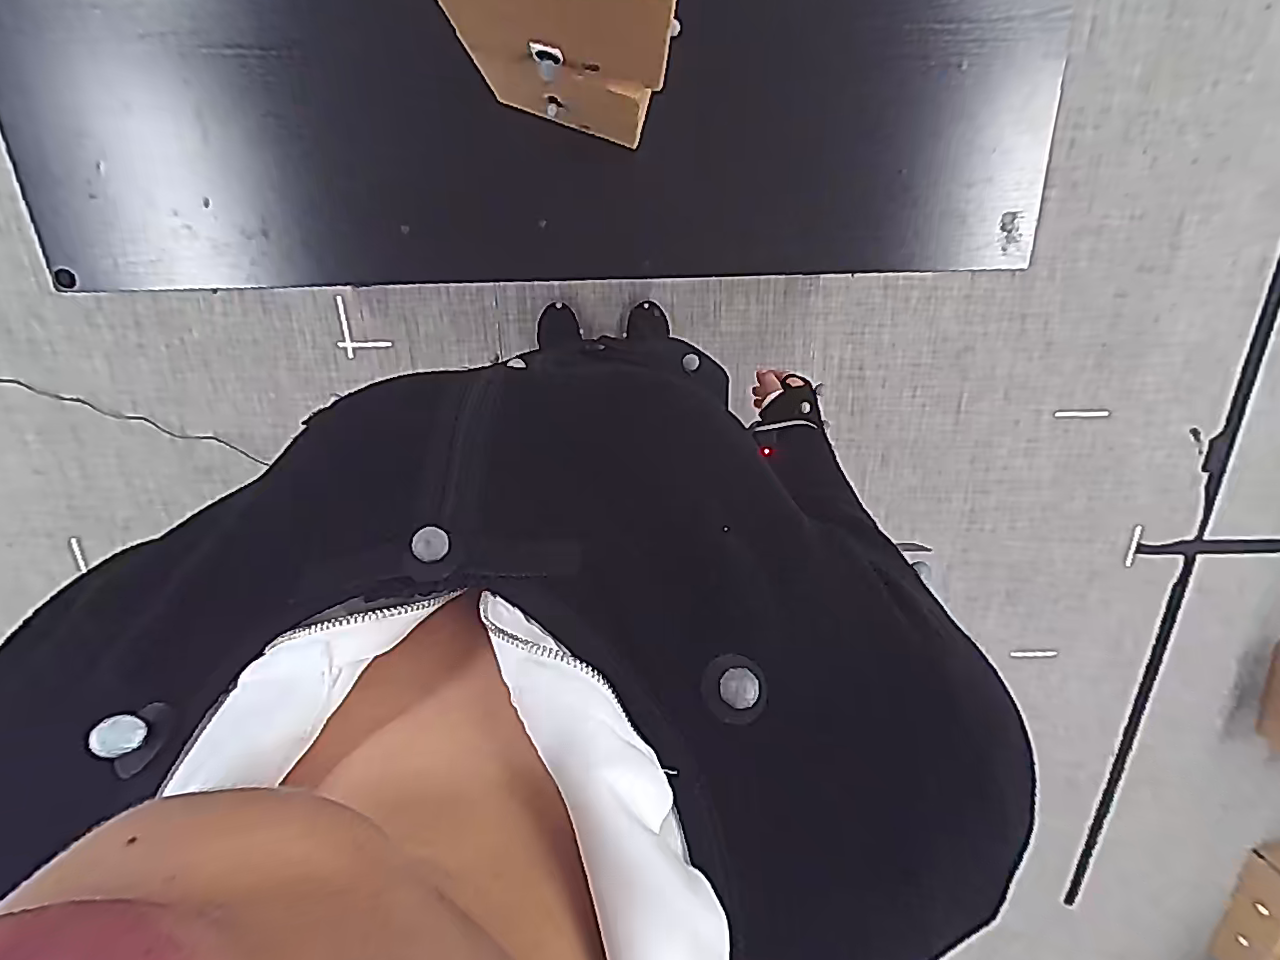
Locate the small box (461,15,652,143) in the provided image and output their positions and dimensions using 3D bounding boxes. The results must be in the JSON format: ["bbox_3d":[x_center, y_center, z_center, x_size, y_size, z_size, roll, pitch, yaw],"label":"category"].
[{"bbox_3d":[-0.056,-0.464,0.529,0.168,0.176,0.179,16,107,-7],"label":"small box"}]

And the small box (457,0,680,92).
[{"bbox_3d":[-0.046,-0.411,0.375,0.168,0.176,0.179,7,109,-3],"label":"small box"}]
